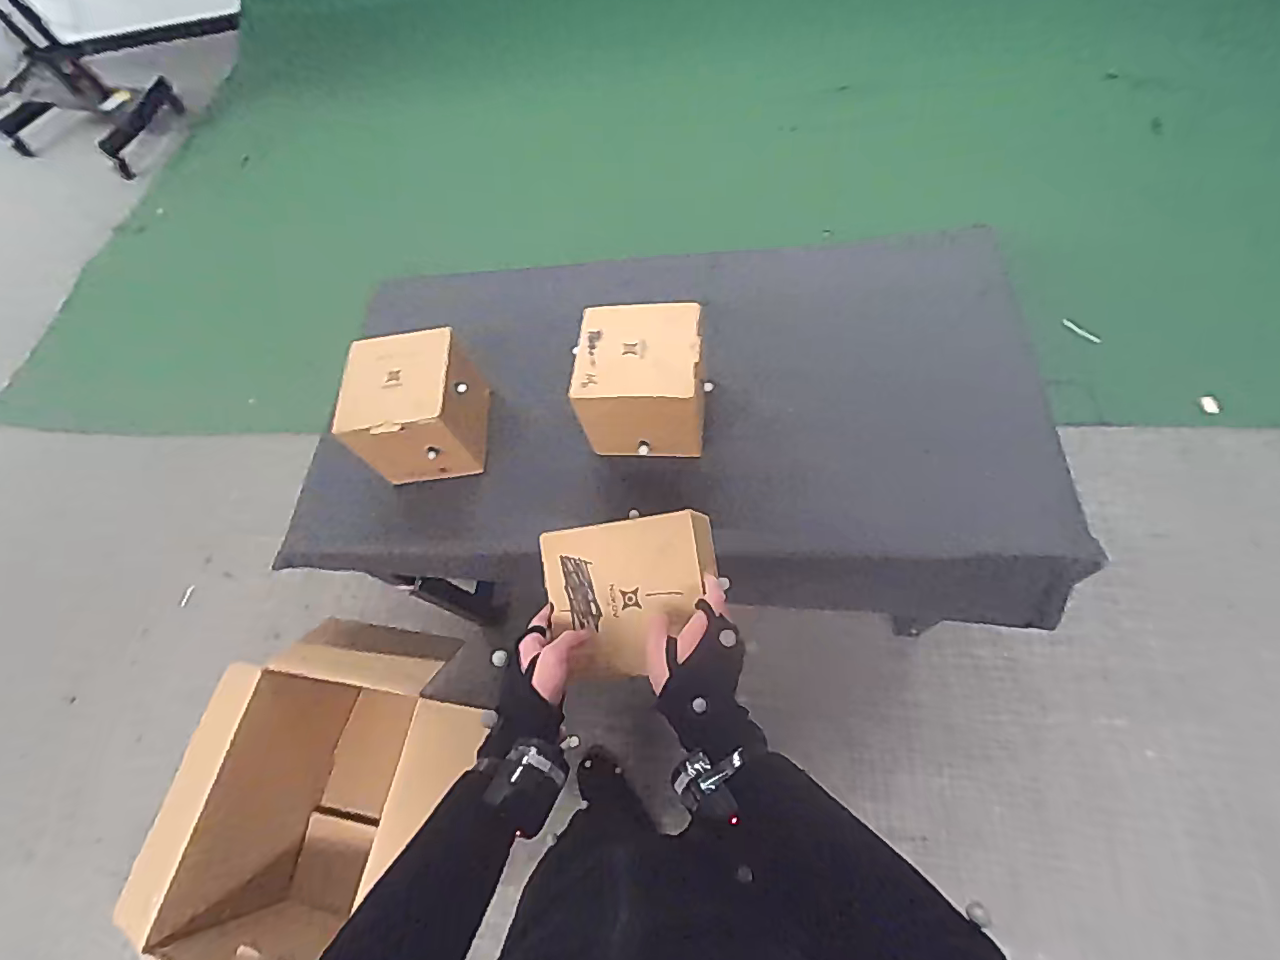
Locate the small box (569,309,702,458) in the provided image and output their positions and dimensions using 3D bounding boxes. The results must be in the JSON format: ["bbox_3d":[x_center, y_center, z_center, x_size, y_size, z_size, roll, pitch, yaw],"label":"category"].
[{"bbox_3d":[0.005,-0.144,0.839,0.179,0.176,0.168,1,64,10],"label":"small box"}]

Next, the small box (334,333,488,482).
[{"bbox_3d":[-0.360,-0.108,0.886,0.168,0.176,0.179,-8,61,4],"label":"small box"}]

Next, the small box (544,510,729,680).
[{"bbox_3d":[0.004,0.133,0.653,0.179,0.176,0.168,-10,82,12],"label":"small box"}]
